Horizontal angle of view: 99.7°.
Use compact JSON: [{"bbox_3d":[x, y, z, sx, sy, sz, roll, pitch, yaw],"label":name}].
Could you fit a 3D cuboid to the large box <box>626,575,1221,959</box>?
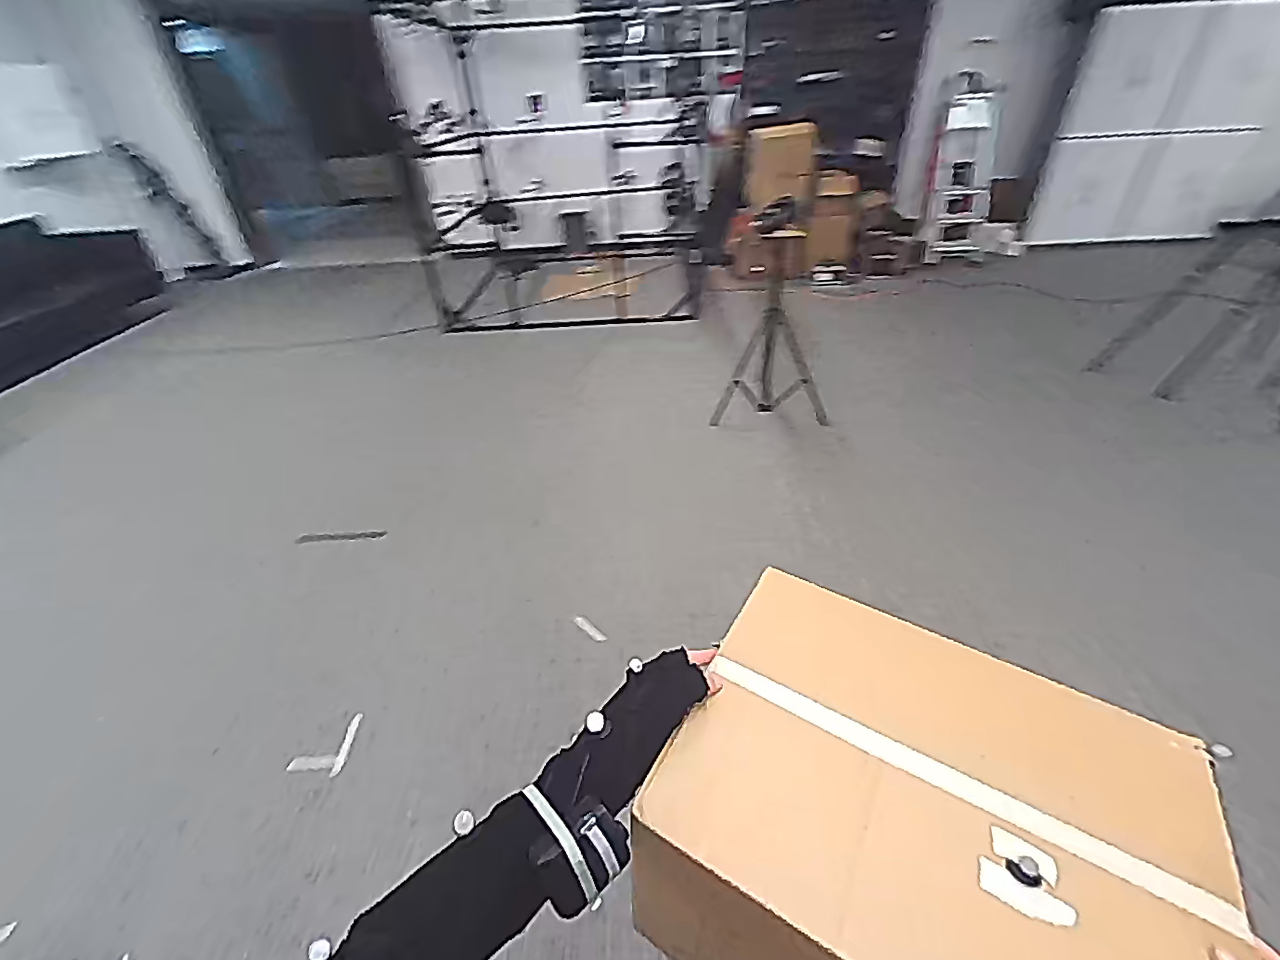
[{"bbox_3d":[0.231,0.368,0.552,0.408,0.320,0.320,20,41,24],"label":"large box"}]
